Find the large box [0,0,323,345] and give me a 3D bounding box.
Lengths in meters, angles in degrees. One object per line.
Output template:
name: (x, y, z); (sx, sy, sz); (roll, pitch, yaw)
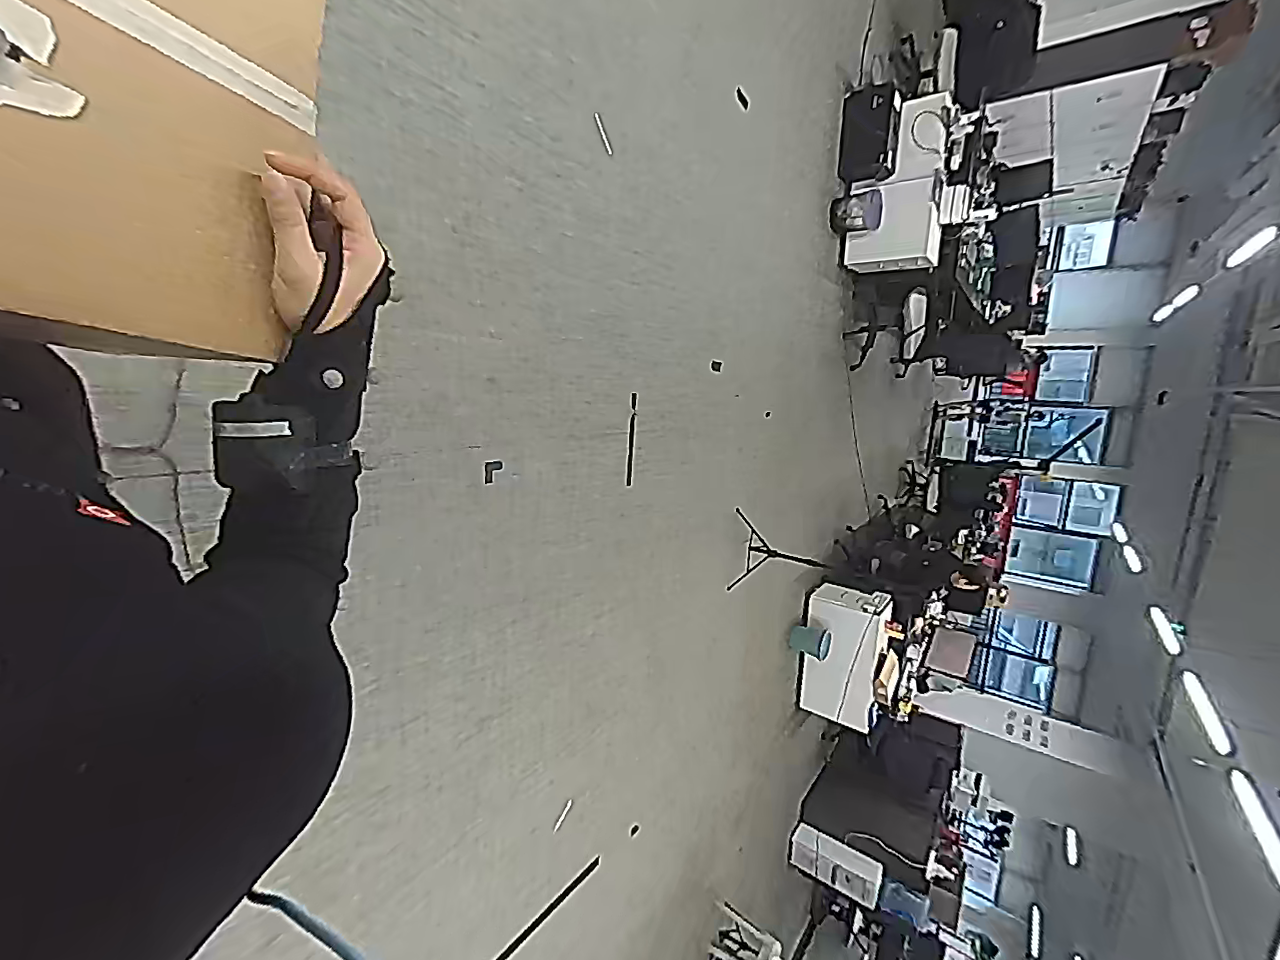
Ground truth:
large box: (-0.446, -0.262, 0.261); (0.408, 0.320, 0.320); (2, 97, -60)
